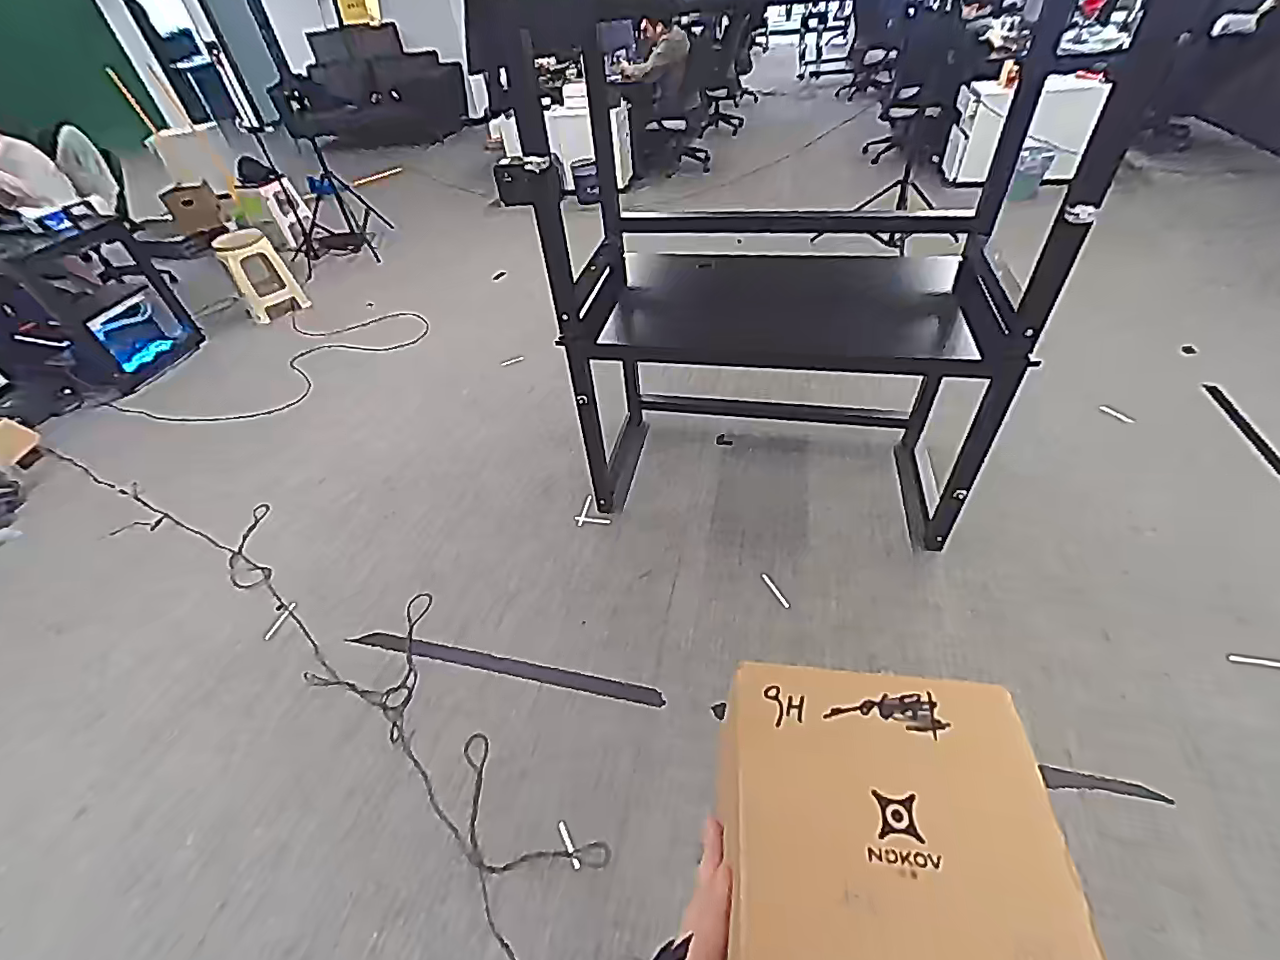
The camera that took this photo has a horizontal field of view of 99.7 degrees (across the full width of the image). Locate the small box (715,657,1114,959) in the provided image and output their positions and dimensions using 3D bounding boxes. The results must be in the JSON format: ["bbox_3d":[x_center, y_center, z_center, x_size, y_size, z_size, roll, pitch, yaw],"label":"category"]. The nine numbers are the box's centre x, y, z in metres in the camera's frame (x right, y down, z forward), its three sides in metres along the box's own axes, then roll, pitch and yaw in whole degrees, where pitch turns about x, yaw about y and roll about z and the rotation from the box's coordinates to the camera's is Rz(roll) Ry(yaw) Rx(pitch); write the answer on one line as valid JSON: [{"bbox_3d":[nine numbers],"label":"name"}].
[{"bbox_3d":[0.137,0.234,0.334,0.168,0.176,0.179,4,48,5],"label":"small box"}]
